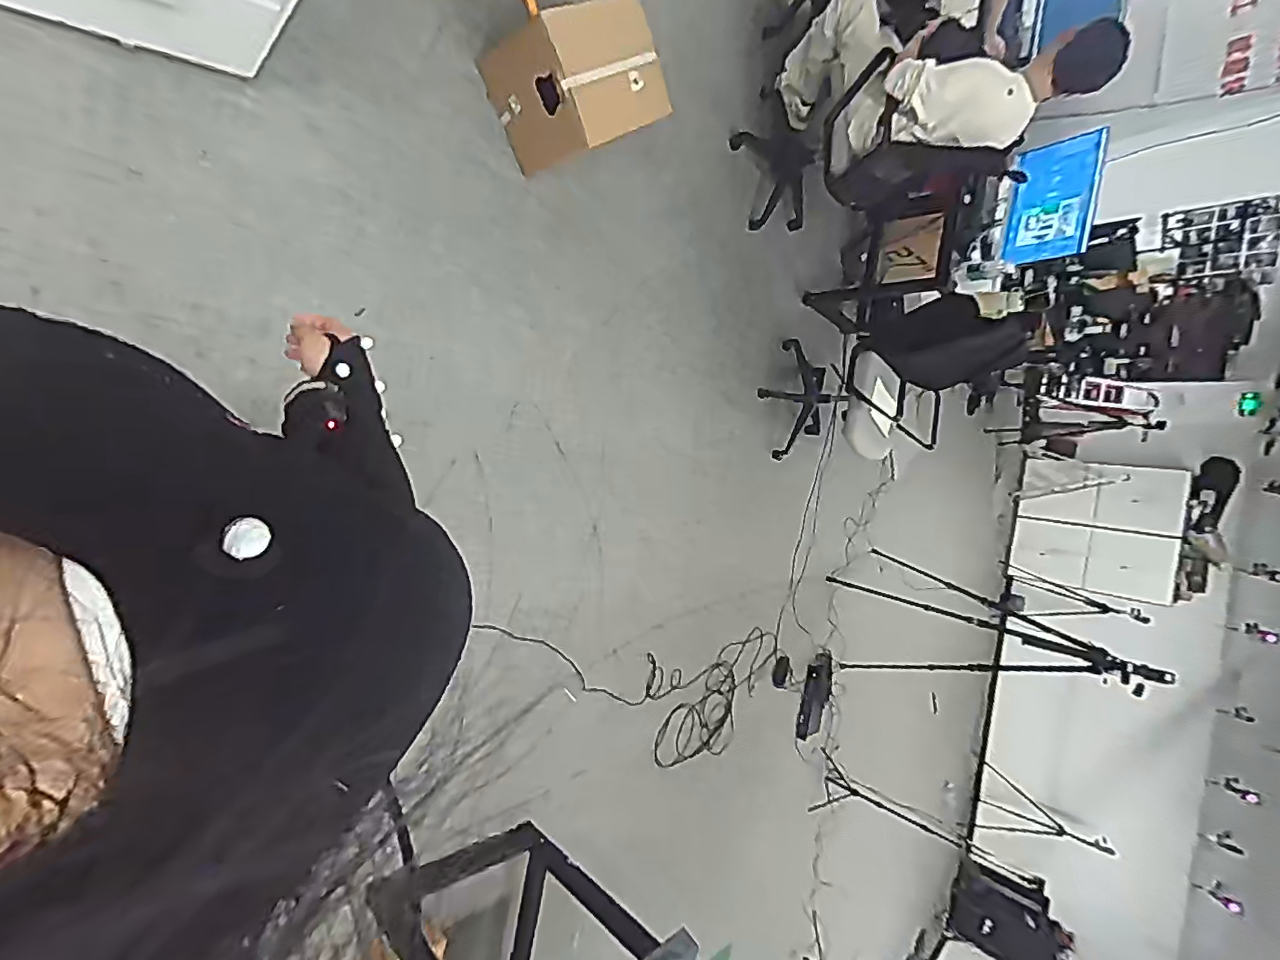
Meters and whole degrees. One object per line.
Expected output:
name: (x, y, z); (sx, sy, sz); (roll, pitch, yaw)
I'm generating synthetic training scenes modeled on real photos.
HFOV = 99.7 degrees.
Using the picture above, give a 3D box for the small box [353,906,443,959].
small box: (-0.714, 1.391, 1.578); (0.168, 0.176, 0.179); (29, 74, -45)
